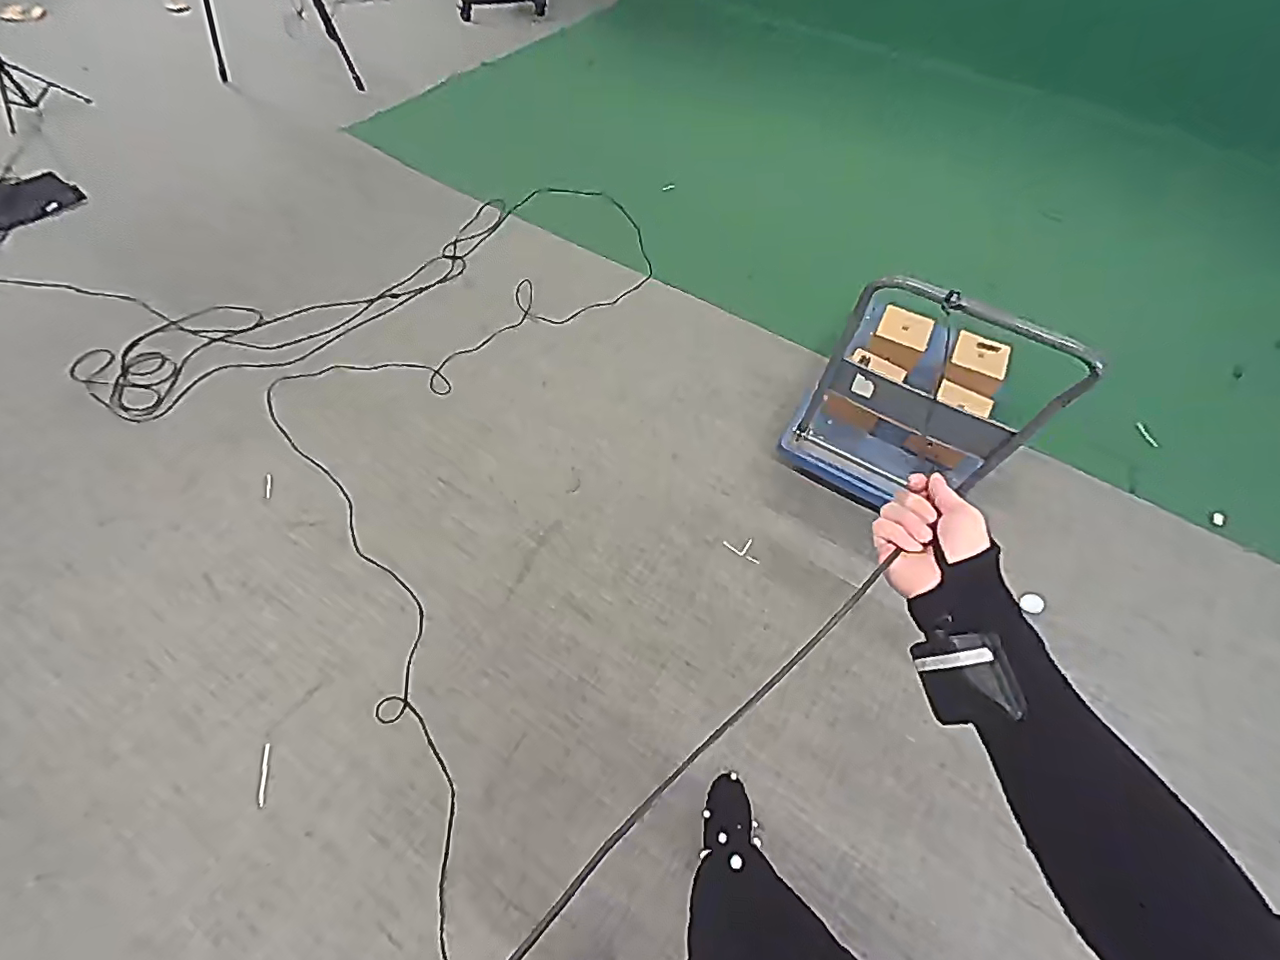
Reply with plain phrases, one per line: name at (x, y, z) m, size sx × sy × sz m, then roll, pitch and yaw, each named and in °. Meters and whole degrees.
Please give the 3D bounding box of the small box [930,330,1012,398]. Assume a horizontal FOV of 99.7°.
small box at (1.121, -0.372, 1.840) m, size 0.168 × 0.176 × 0.179 m, roll 26°, pitch 61°, yaw 14°

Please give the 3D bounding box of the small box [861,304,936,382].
small box at (0.900, -0.477, 1.898) m, size 0.168 × 0.176 × 0.179 m, roll 26°, pitch 60°, yaw 13°

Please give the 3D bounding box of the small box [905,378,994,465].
small box at (0.975, -0.182, 1.715) m, size 0.168 × 0.176 × 0.179 m, roll 30°, pitch 62°, yaw 16°
